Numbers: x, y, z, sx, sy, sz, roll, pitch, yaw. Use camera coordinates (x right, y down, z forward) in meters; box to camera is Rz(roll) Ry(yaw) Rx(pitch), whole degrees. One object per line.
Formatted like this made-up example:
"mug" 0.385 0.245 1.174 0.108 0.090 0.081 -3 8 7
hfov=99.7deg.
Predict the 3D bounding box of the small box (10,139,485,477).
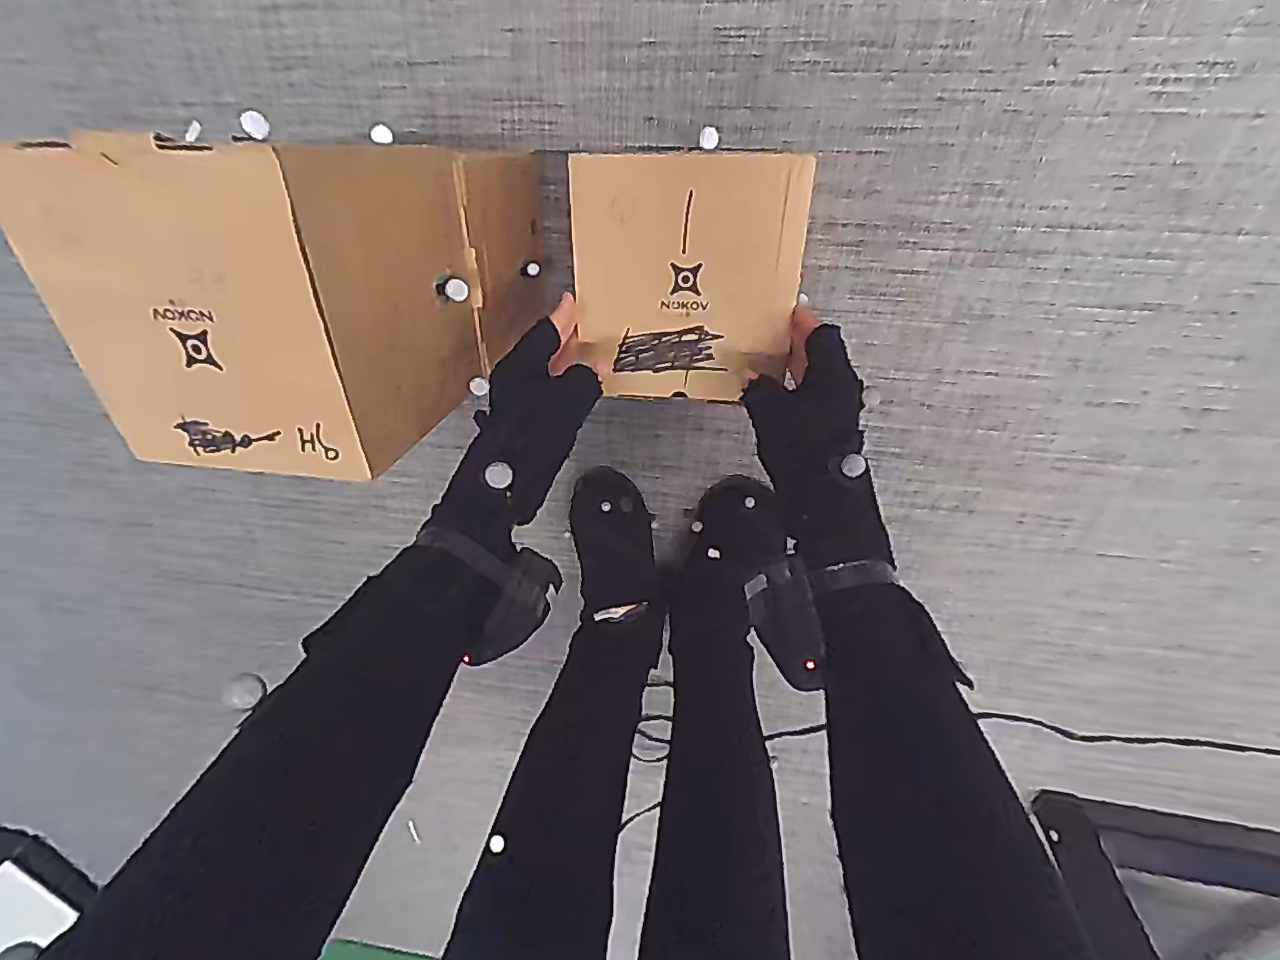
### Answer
"small box" -0.222 -0.124 0.368 0.168 0.176 0.179 6 121 8

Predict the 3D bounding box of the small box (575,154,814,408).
"small box" 0.047 -0.181 0.473 0.168 0.176 0.179 5 121 8
